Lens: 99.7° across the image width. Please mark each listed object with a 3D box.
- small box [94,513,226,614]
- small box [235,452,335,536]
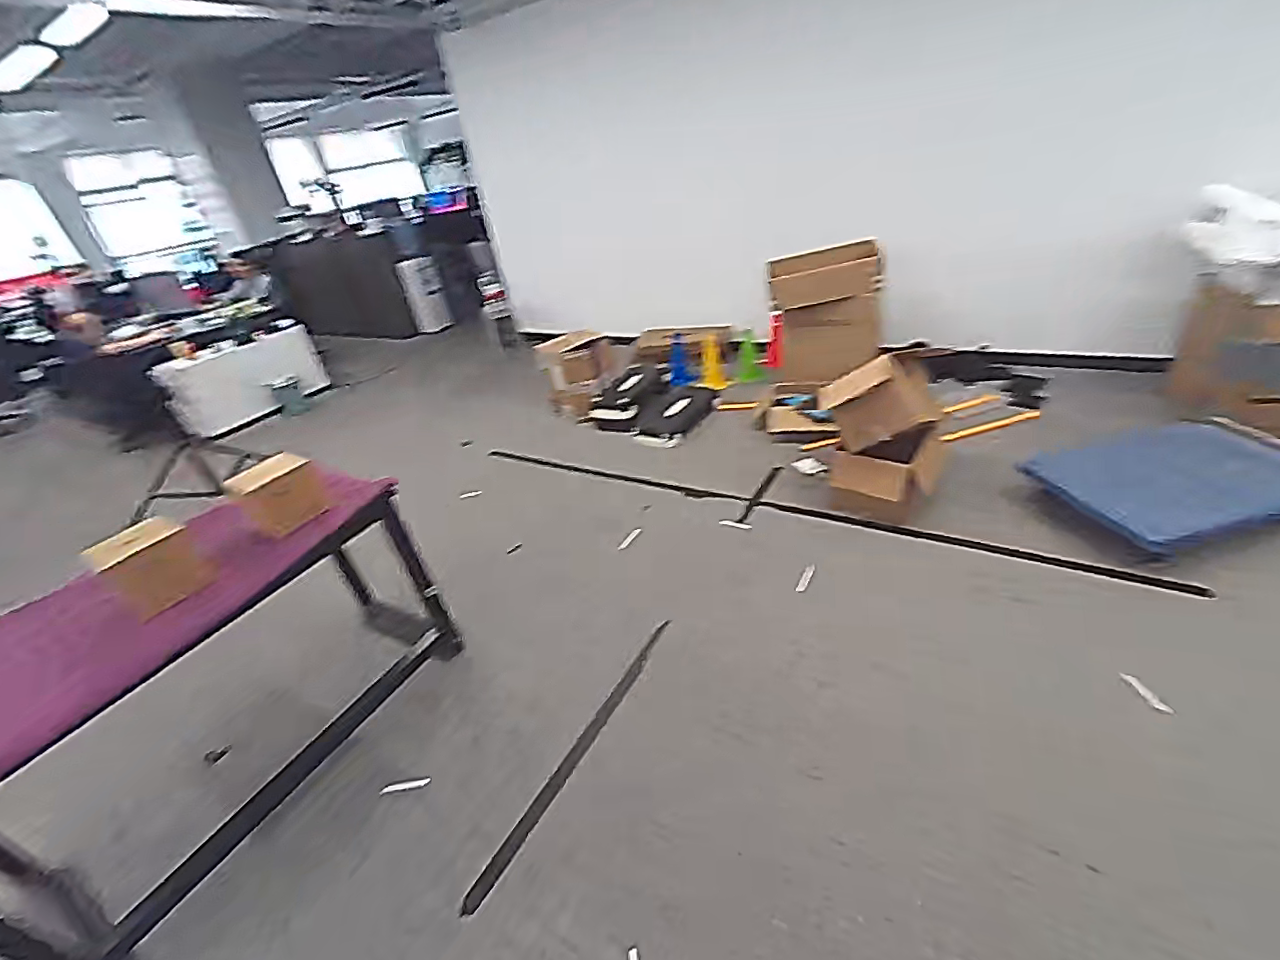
[{"bbox_3d":[-1.229,0.214,1.394,0.168,0.176,0.179,13,38,32],"label":"small box"},{"bbox_3d":[-1.051,0.040,1.620,0.168,0.176,0.179,12,39,33],"label":"small box"}]
